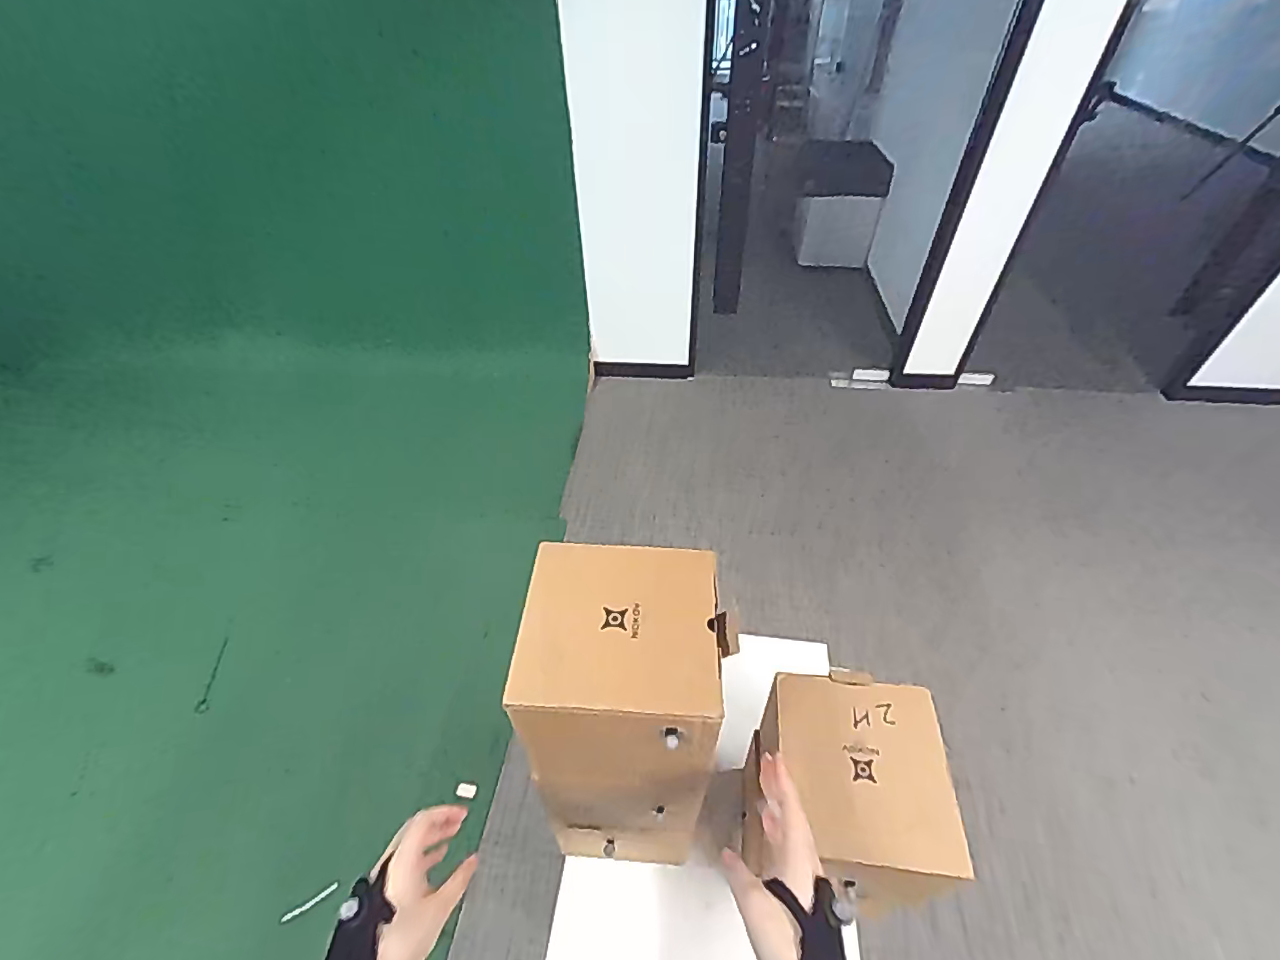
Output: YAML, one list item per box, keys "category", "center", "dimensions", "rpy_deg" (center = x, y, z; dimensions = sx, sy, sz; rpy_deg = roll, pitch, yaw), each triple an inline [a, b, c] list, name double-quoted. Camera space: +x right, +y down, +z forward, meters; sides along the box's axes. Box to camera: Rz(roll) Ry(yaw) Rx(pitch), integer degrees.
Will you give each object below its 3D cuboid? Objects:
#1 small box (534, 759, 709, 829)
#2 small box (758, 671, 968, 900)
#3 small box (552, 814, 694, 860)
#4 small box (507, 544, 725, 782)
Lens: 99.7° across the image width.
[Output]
- category: "small box"
  center: [-0.016, 0.301, 0.647]
  dimensions: [0.179, 0.176, 0.168]
  rpy_deg: [2, 44, 2]
- category: "small box"
  center: [0.225, 0.340, 0.600]
  dimensions: [0.168, 0.176, 0.179]
  rpy_deg: [4, 45, 7]
- category: "small box"
  center: [-0.016, 0.418, 0.762]
  dimensions: [0.179, 0.176, 0.168]
  rpy_deg: [3, 46, 2]
- category: "small box"
  center: [-0.016, 0.182, 0.536]
  dimensions: [0.179, 0.176, 0.168]
  rpy_deg: [3, 44, 1]
